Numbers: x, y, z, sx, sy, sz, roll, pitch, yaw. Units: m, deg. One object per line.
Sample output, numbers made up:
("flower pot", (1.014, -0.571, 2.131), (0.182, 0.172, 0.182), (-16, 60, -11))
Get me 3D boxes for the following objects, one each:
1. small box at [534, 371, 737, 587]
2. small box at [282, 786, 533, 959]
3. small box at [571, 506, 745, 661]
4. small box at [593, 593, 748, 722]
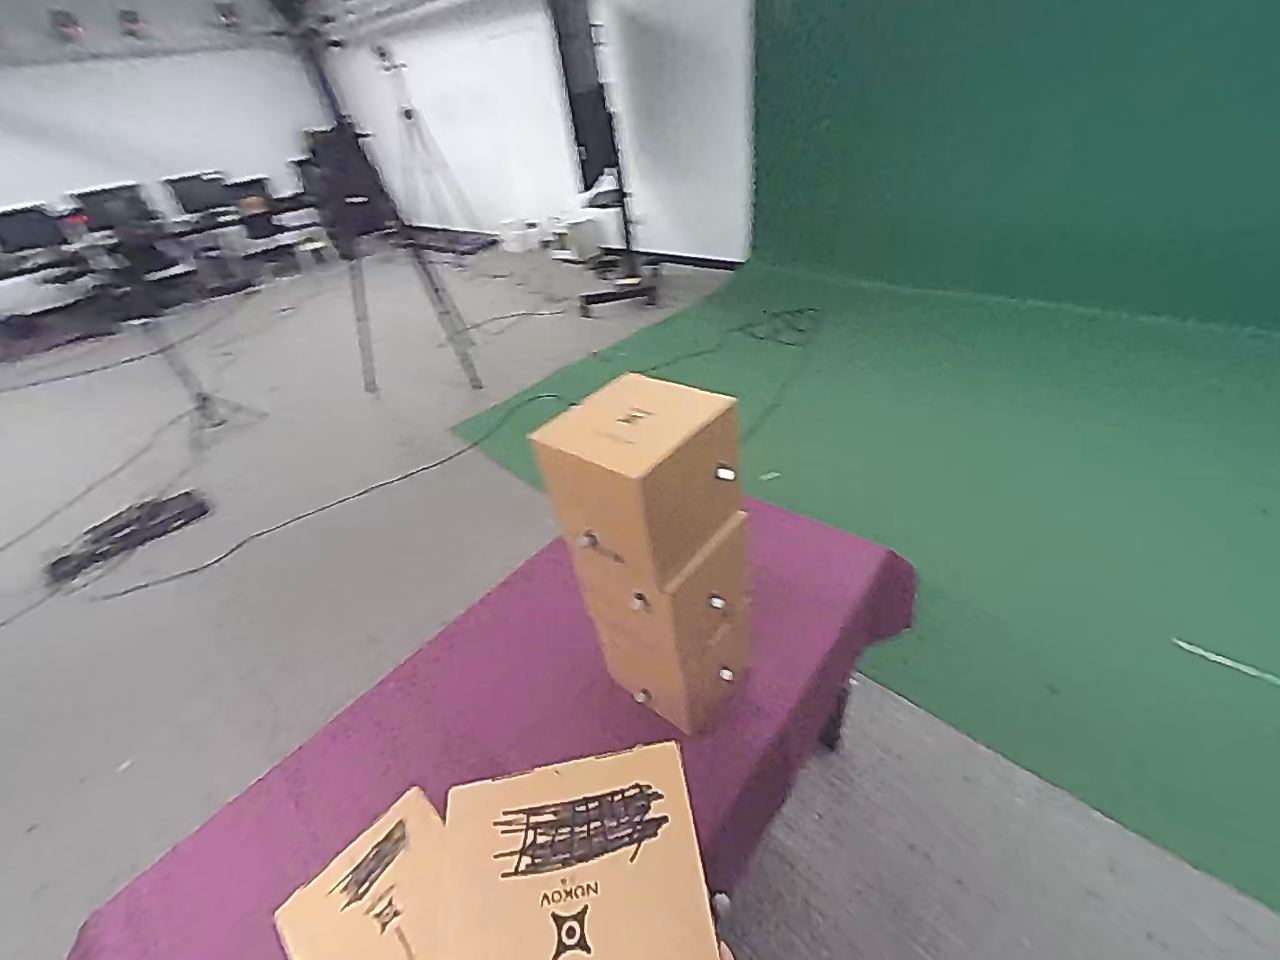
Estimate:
("small box", (0.004, -0.007, 0.656), (0.168, 0.176, 0.179), (22, 48, 36))
("small box", (-0.246, 0.496, 0.599), (0.179, 0.176, 0.168), (25, 49, 36))
("small box", (0.031, 0.121, 0.755), (0.179, 0.176, 0.168), (23, 47, 35))
("small box", (0.054, 0.249, 0.857), (0.179, 0.176, 0.168), (24, 48, 35))
